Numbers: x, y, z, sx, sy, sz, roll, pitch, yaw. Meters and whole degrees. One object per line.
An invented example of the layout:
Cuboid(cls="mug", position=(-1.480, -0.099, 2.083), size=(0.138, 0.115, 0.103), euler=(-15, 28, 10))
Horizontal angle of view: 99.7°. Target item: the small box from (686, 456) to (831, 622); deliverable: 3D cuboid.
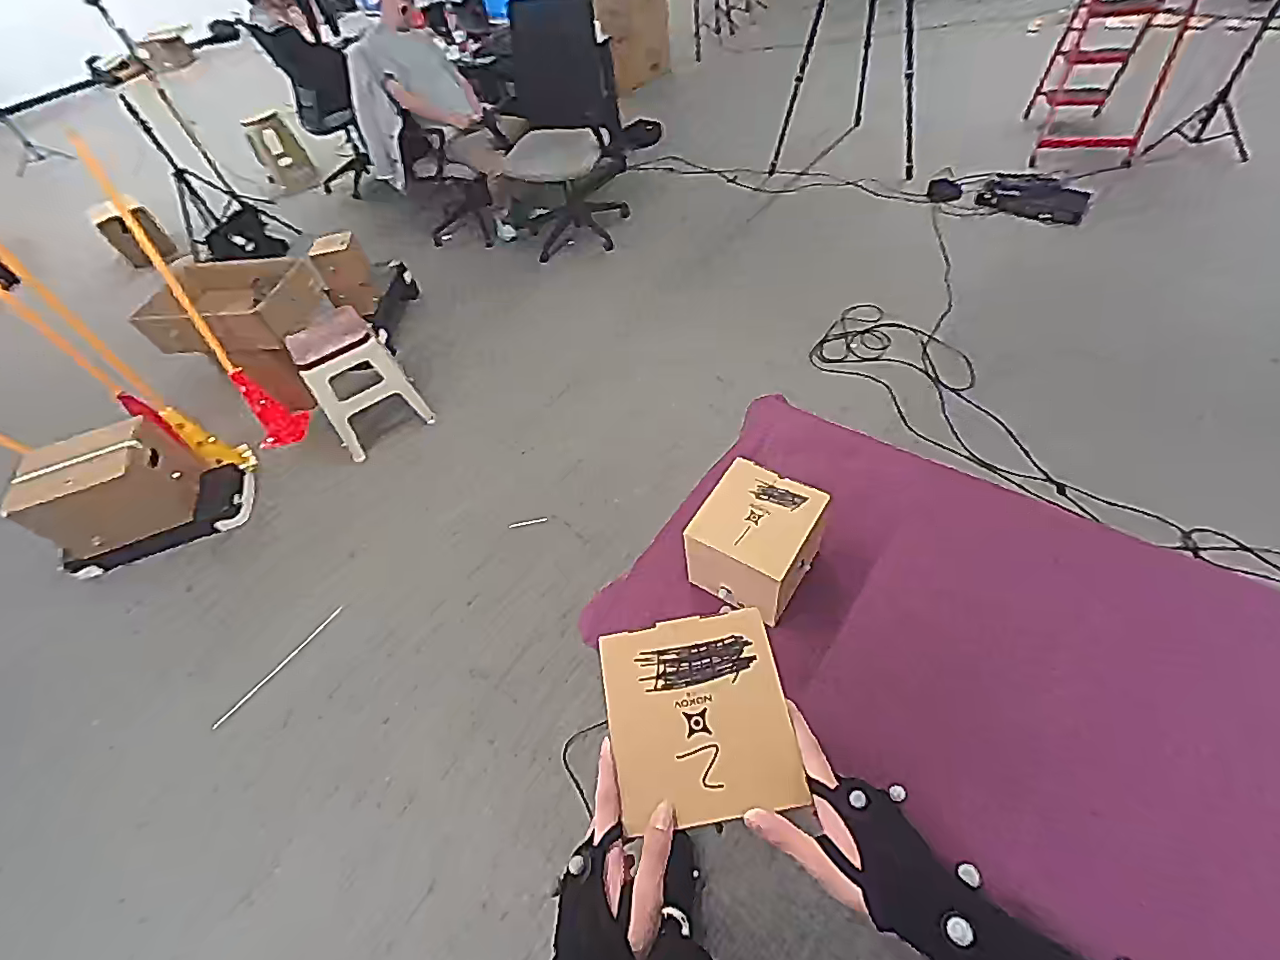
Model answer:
Cuboid(cls="small box", position=(0.191, 0.099, 0.894), size=(0.168, 0.176, 0.179), euler=(26, 61, 26))
